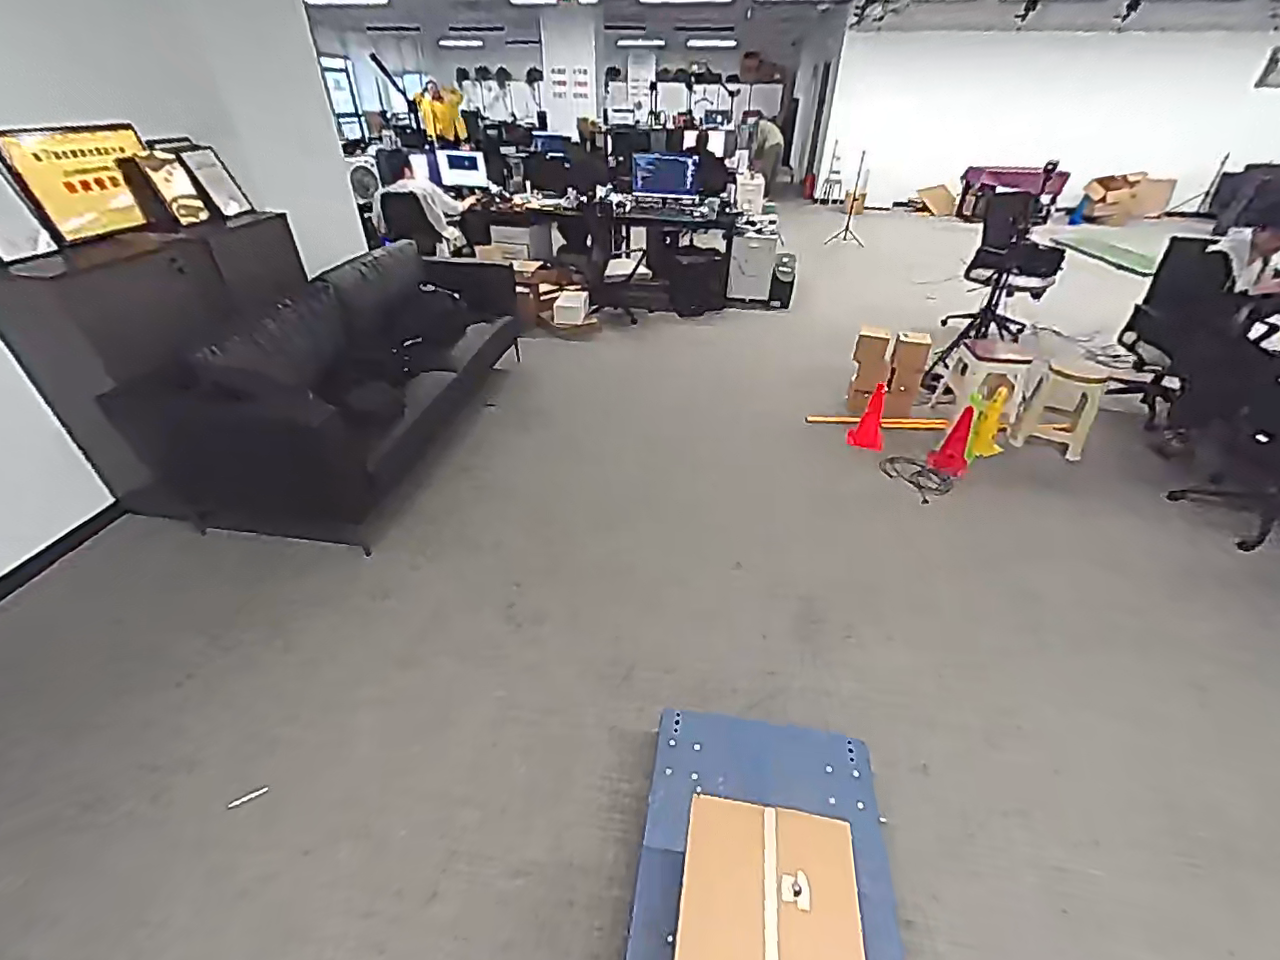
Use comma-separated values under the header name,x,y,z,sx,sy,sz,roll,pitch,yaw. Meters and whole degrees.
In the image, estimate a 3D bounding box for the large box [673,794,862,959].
name,x,y,z,sx,sy,sz,roll,pitch,yaw
large box,0.223,0.894,1.016,0.320,0.320,0.408,6,35,8
